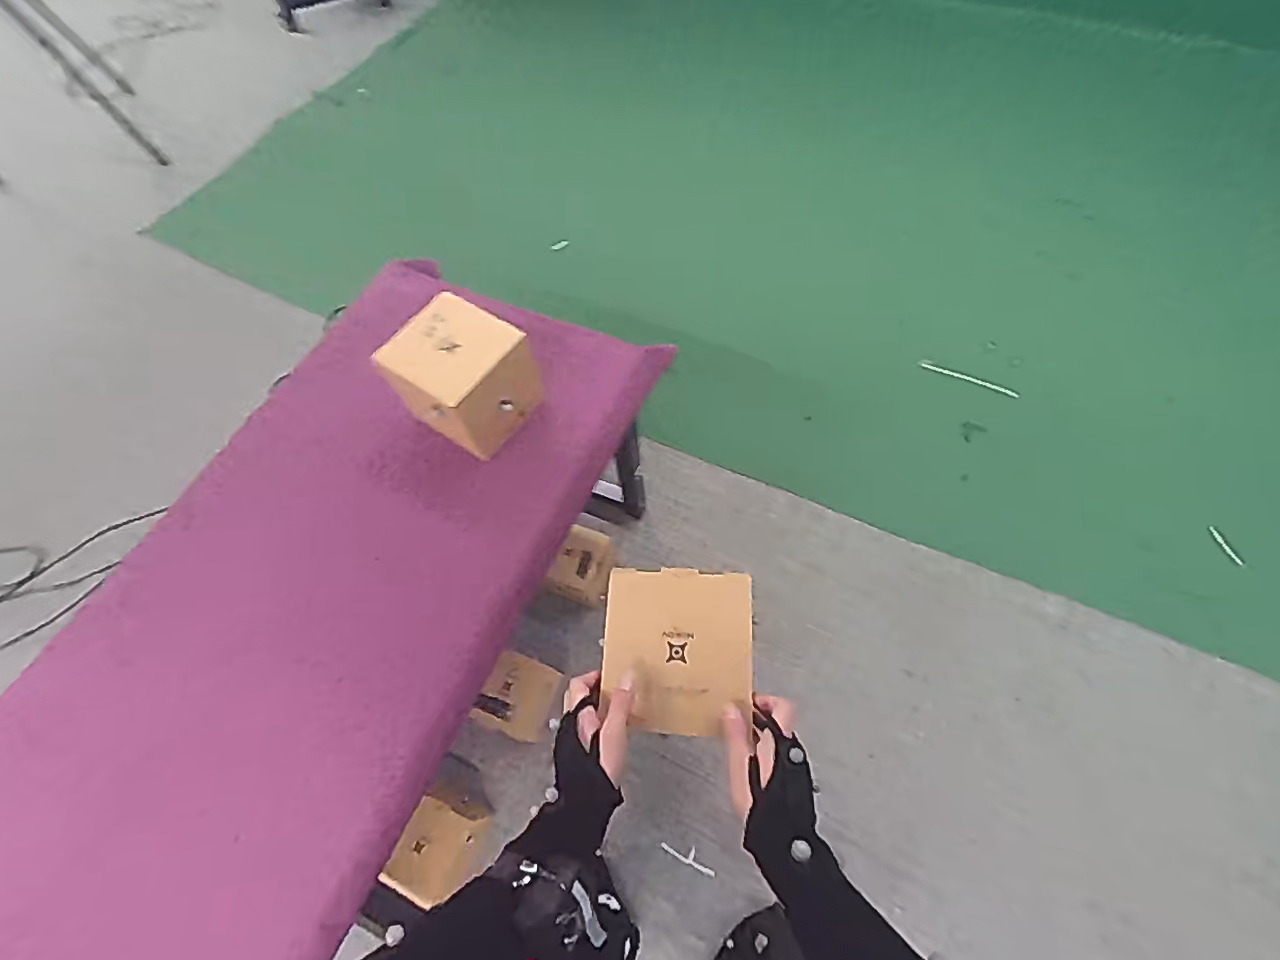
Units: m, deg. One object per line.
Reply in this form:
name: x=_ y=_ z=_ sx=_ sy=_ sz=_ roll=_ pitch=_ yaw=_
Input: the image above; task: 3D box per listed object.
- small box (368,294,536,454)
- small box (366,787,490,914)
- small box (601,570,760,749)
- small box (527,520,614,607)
small box: x=-0.298 y=-0.167 z=0.902 sx=0.179 sy=0.176 sz=0.168 roll=31 pitch=69 yaw=18
small box: x=-0.467 y=0.824 z=1.223 sx=0.168 sy=0.176 sz=0.179 roll=20 pitch=66 yaw=14
small box: x=0.056 y=0.217 z=0.661 sx=0.168 sy=0.176 sz=0.179 roll=1 pitch=70 yaw=9
small box: x=-0.182 y=0.238 z=1.503 sx=0.179 sy=0.176 sz=0.168 roll=18 pitch=64 yaw=13
